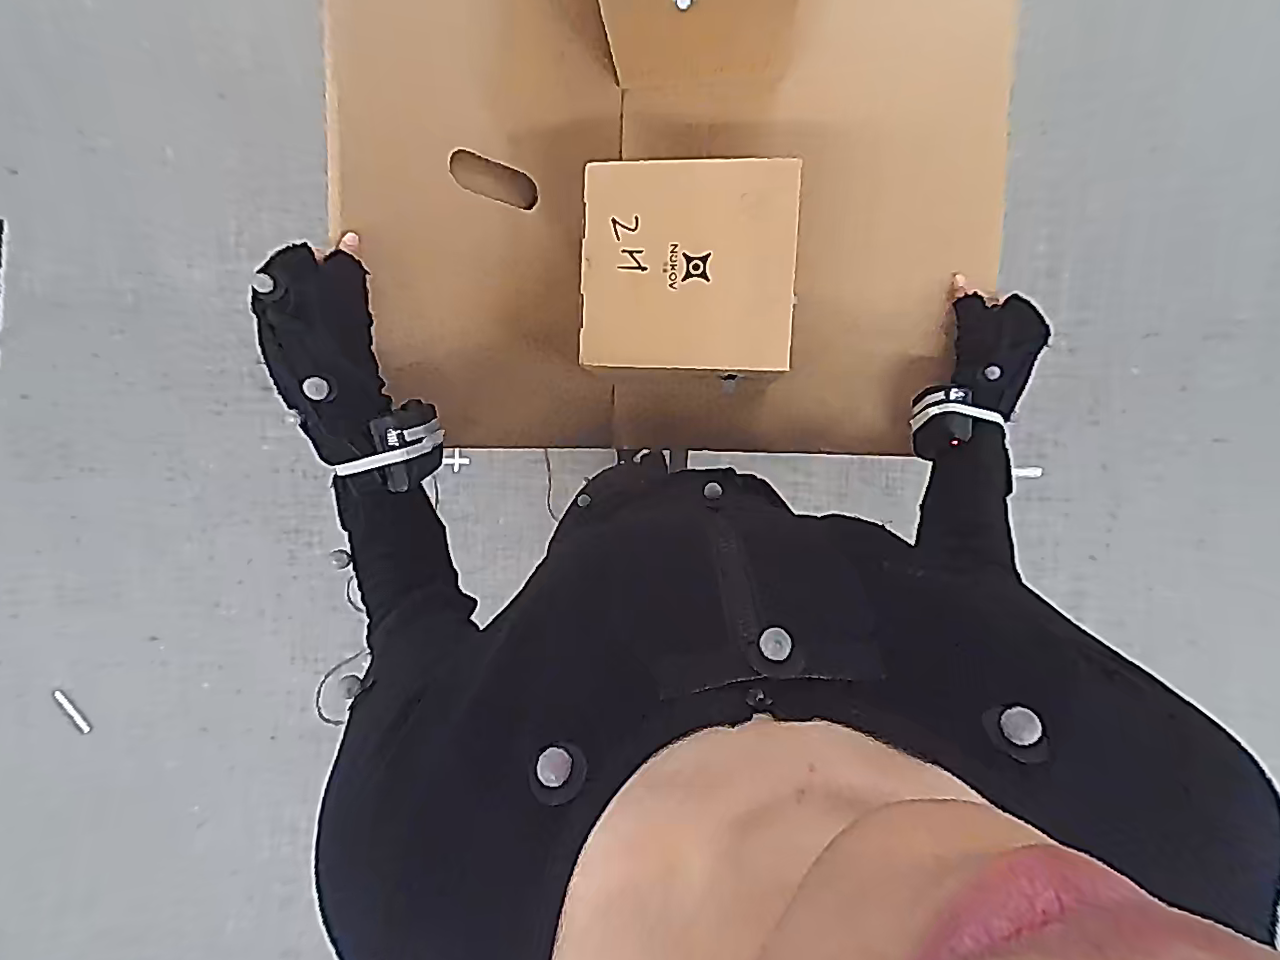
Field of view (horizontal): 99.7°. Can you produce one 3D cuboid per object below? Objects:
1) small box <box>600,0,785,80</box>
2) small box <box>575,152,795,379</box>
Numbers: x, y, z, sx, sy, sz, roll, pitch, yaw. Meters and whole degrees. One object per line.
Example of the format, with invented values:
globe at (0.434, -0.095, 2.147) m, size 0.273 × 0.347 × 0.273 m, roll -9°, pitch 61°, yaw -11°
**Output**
small box at (0.049, -0.511, 0.503) m, size 0.179 × 0.176 × 0.168 m, roll 0°, pitch 94°, yaw 7°
small box at (0.044, -0.192, 0.526) m, size 0.179 × 0.176 × 0.168 m, roll 3°, pitch 94°, yaw 8°
